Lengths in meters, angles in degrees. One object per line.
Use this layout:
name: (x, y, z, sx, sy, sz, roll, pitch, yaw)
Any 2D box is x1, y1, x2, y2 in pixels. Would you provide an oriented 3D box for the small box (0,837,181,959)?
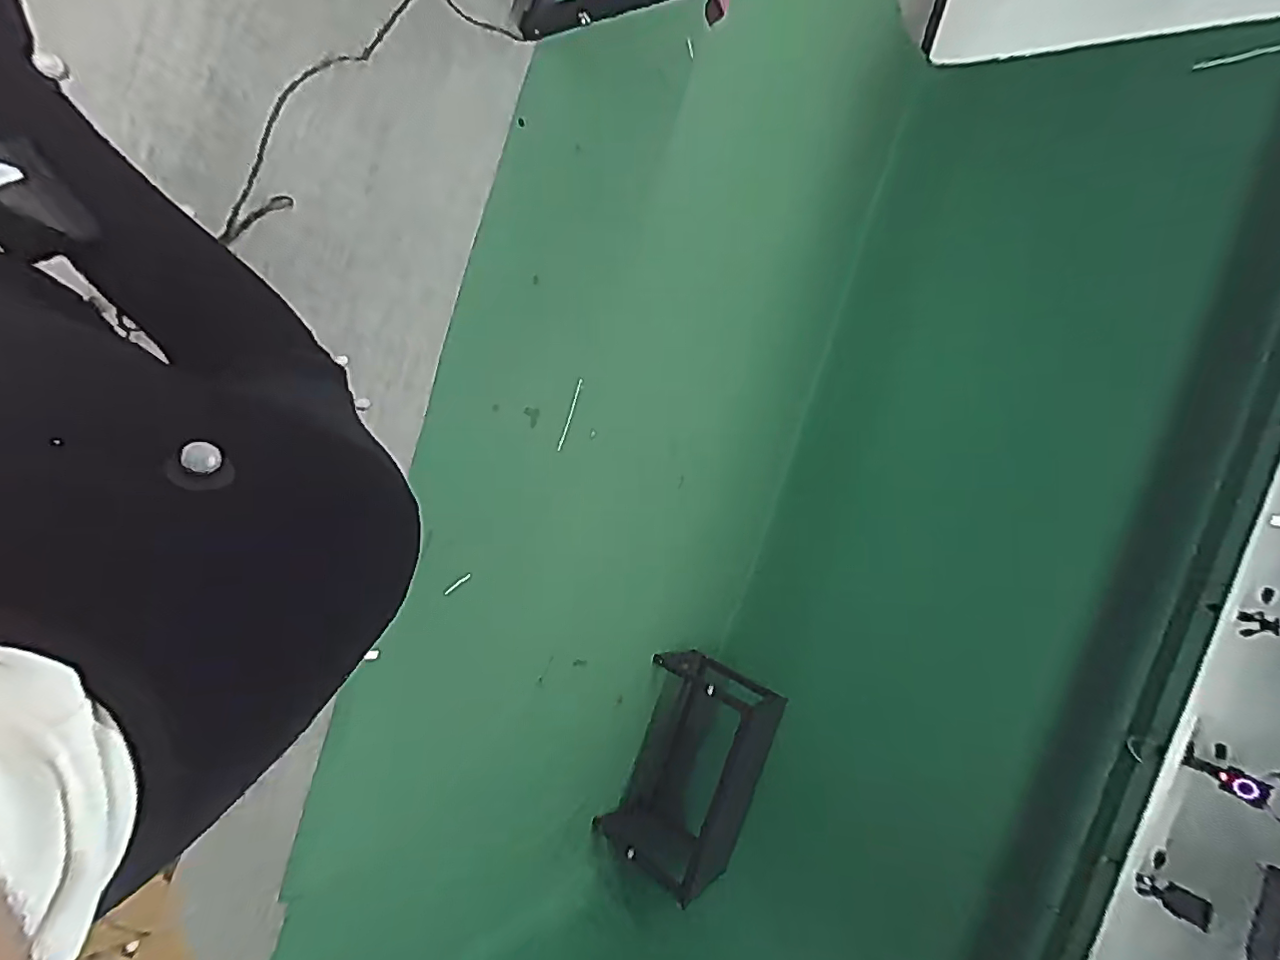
small box: (-0.896, 0.731, 0.874, 0.168, 0.176, 0.179, 25, 86, -55)

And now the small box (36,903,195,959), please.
small box: (-0.772, 0.776, 0.778, 0.168, 0.176, 0.179, 24, 87, -55)
